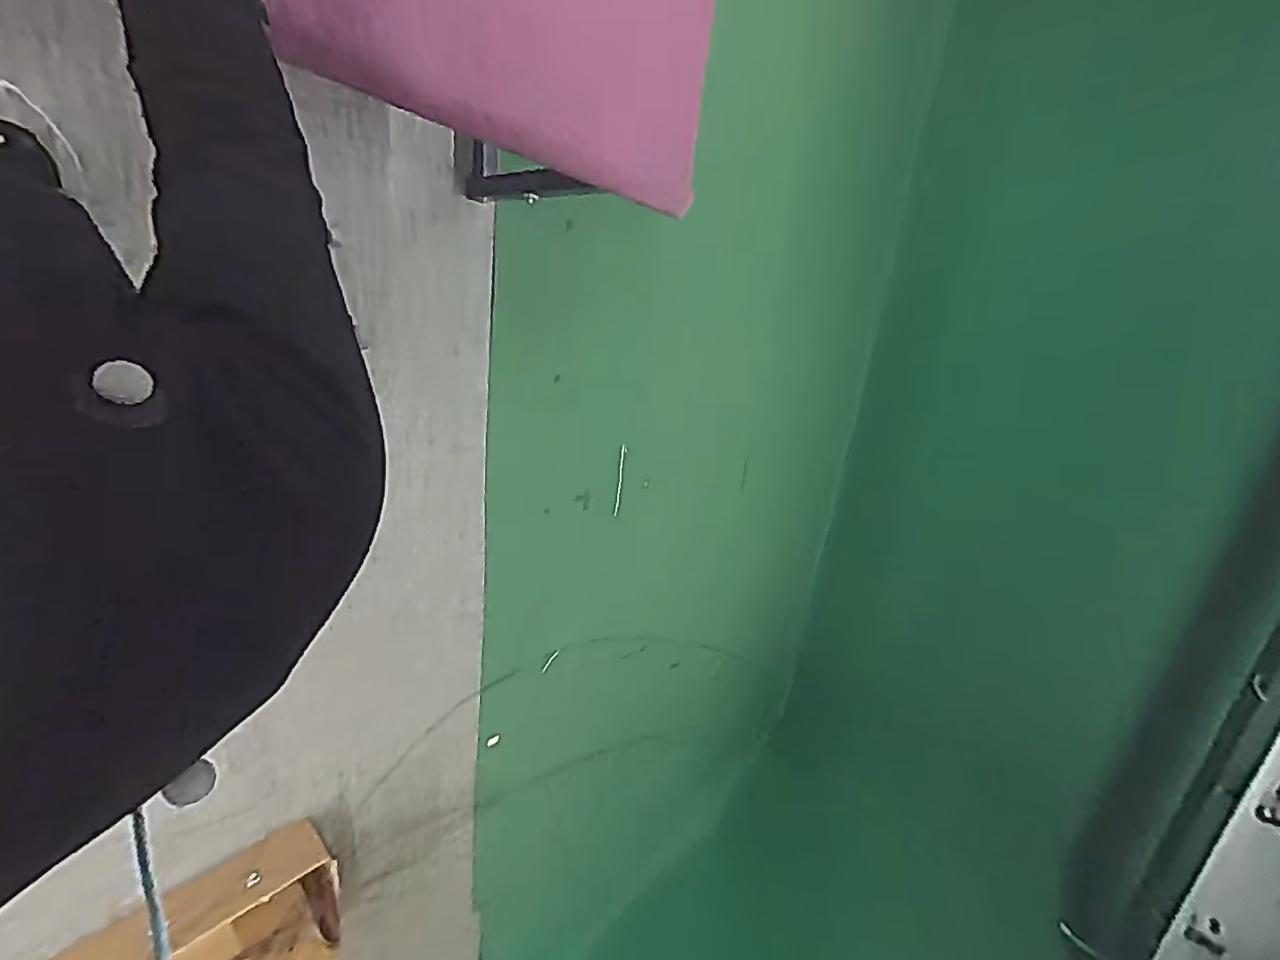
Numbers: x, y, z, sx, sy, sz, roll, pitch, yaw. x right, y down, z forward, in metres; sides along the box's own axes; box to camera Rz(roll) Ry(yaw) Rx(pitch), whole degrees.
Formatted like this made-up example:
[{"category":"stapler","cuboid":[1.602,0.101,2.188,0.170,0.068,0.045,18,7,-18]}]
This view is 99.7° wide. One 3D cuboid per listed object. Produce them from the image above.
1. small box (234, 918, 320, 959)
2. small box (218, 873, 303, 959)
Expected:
[{"category":"small box","cuboid":[-0.949,1.326,1.426,0.168,0.176,0.179,-13,117,-46]},{"category":"small box","cuboid":[-1.067,1.275,1.526,0.168,0.176,0.179,-12,117,-47]}]
